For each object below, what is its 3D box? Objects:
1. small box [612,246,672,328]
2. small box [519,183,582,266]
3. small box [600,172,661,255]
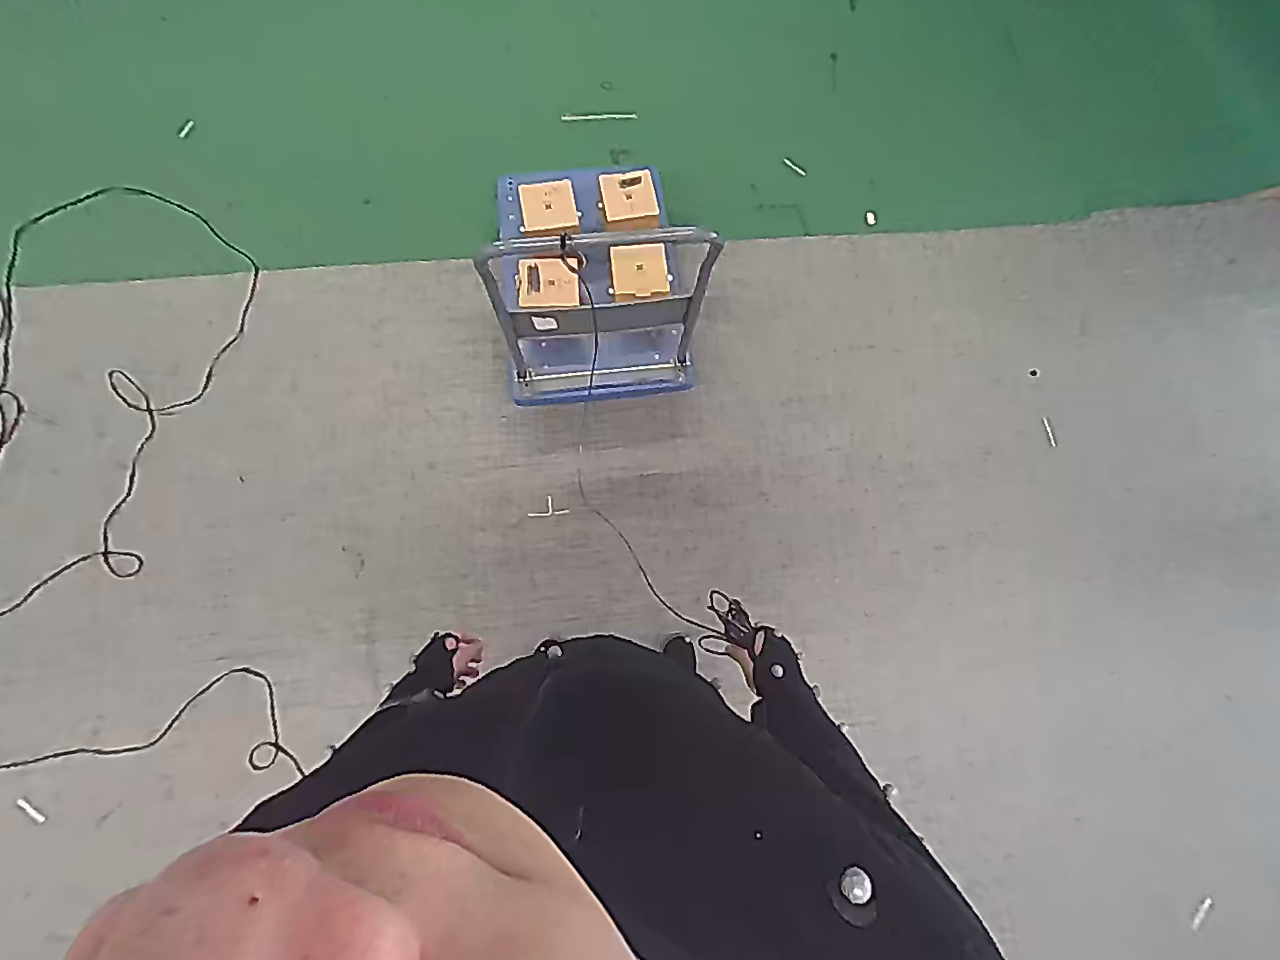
[{"bbox_3d":[0.000,-0.592,1.669,0.168,0.176,0.179,-5,75,-4],"label":"small box"},{"bbox_3d":[-0.281,-0.805,1.722,0.168,0.176,0.179,-10,74,-6],"label":"small box"},{"bbox_3d":[-0.034,-0.850,1.744,0.168,0.176,0.179,-10,75,-4],"label":"small box"}]
